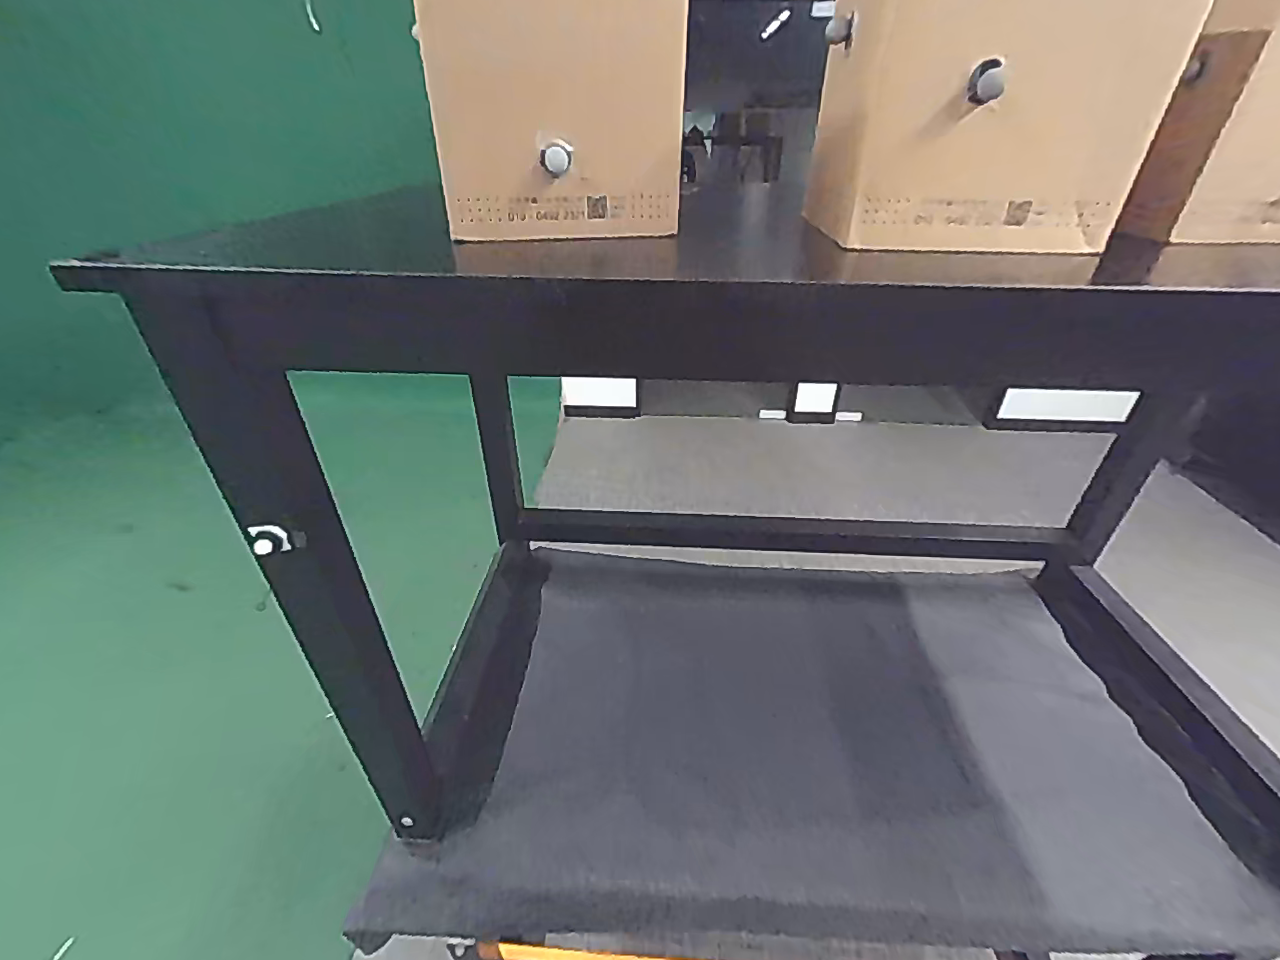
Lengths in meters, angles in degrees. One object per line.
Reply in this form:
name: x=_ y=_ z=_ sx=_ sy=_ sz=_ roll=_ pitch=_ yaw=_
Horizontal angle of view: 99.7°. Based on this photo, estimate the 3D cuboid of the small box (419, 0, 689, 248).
small box: x=-0.068 y=-0.287 z=0.421 sx=0.168 sy=0.176 sz=0.179 roll=-6 pitch=35 yaw=-10
